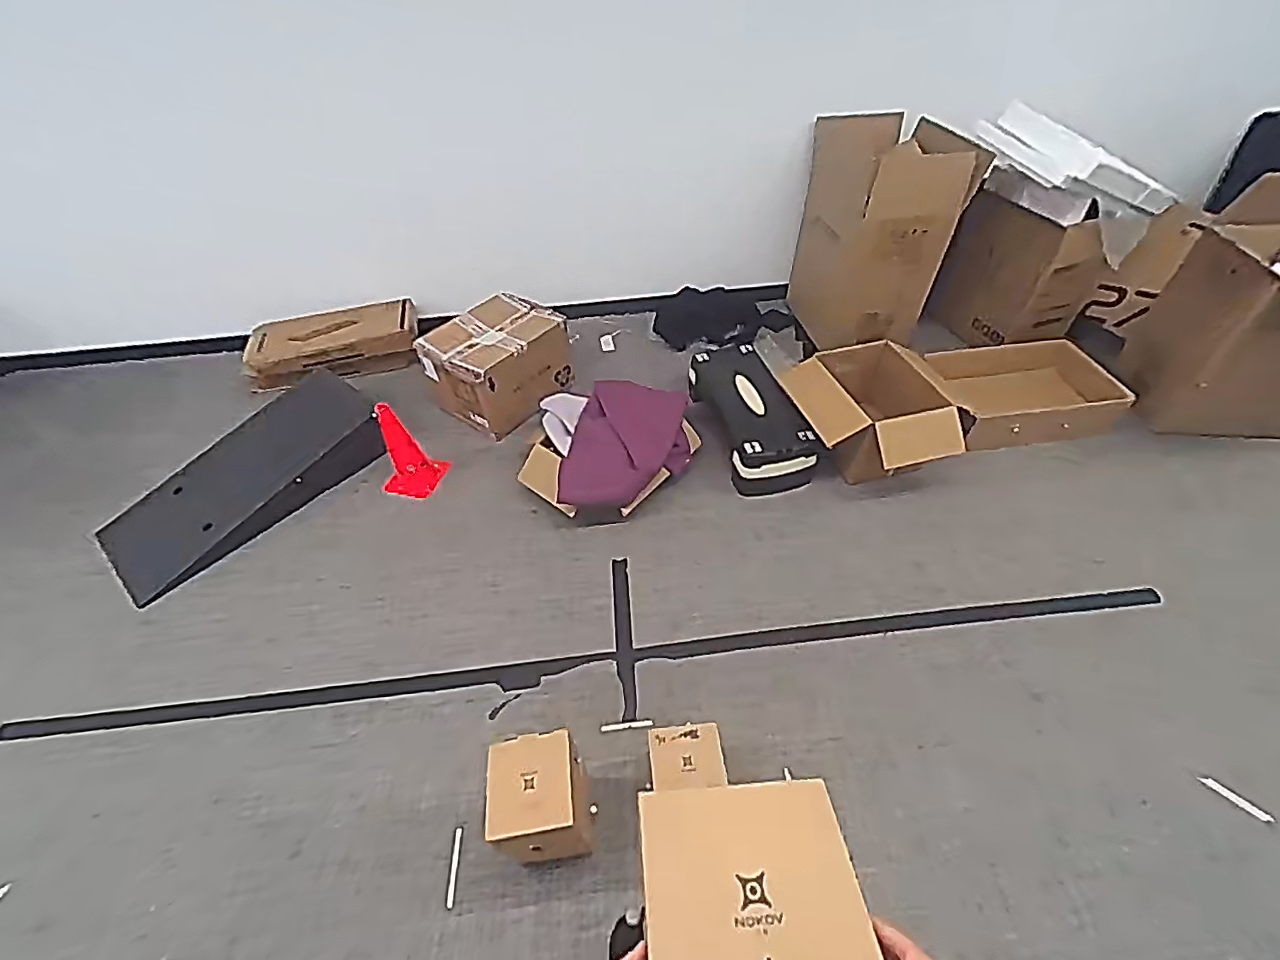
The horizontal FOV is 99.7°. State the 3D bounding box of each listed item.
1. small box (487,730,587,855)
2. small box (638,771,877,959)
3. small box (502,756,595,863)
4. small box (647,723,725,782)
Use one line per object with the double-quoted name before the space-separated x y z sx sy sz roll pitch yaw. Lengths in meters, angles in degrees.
"small box" -0.208 0.644 1.112 0.168 0.176 0.179 -10 48 -3
"small box" 0.084 0.381 0.459 0.168 0.176 0.179 -4 36 -2
"small box" -0.204 0.753 1.232 0.179 0.176 0.168 -7 47 -3
"small box" 0.110 0.695 1.267 0.168 0.176 0.179 -6 47 -1
